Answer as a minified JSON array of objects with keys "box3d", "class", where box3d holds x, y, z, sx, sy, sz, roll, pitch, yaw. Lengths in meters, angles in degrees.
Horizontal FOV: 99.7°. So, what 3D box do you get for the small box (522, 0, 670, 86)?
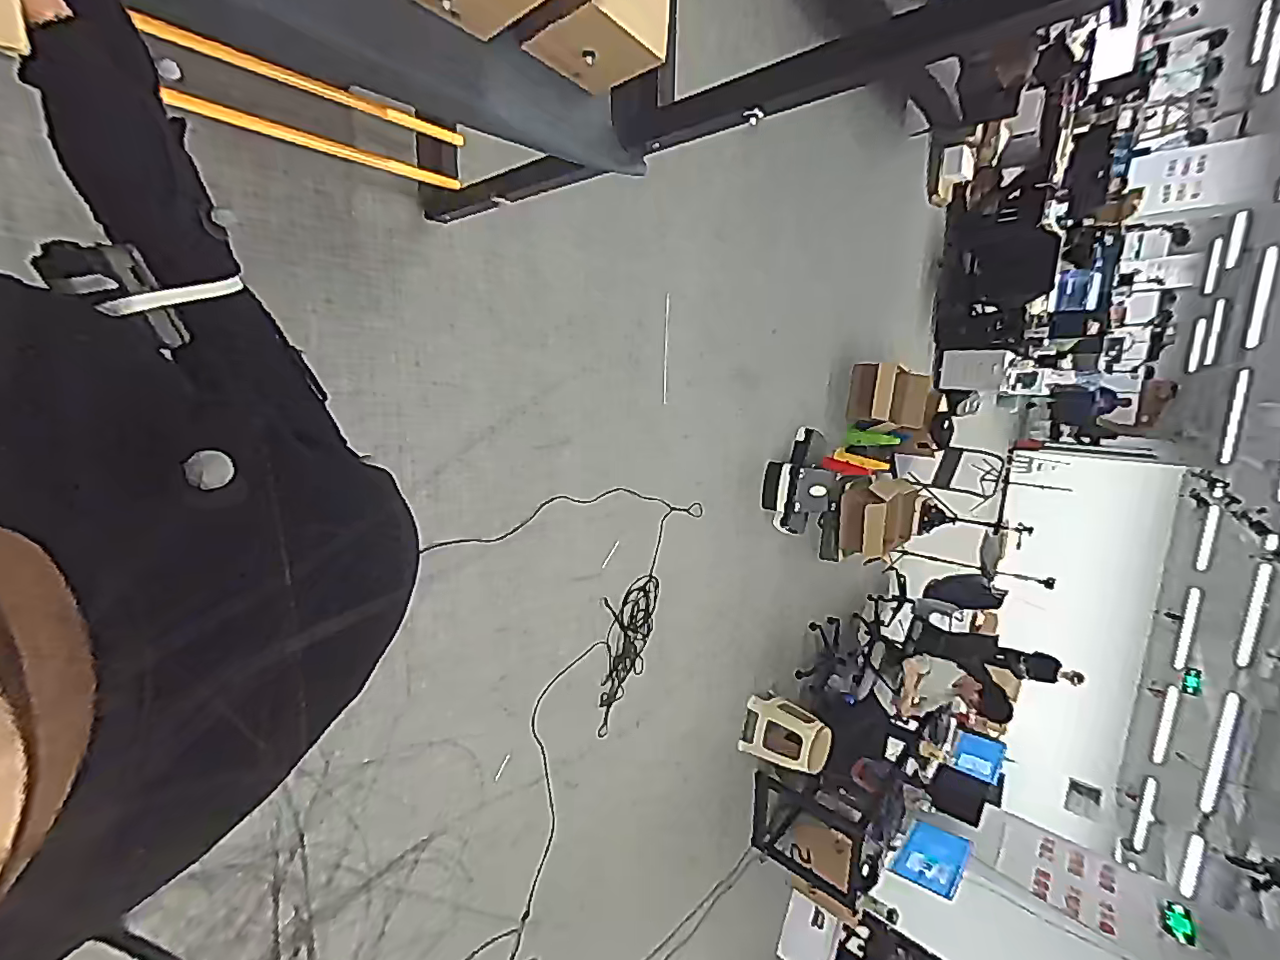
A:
[{"box3d":[-0.069,-0.765,0.845,0.168,0.176,0.179,-6,102,-49],"class":"small box"}]
